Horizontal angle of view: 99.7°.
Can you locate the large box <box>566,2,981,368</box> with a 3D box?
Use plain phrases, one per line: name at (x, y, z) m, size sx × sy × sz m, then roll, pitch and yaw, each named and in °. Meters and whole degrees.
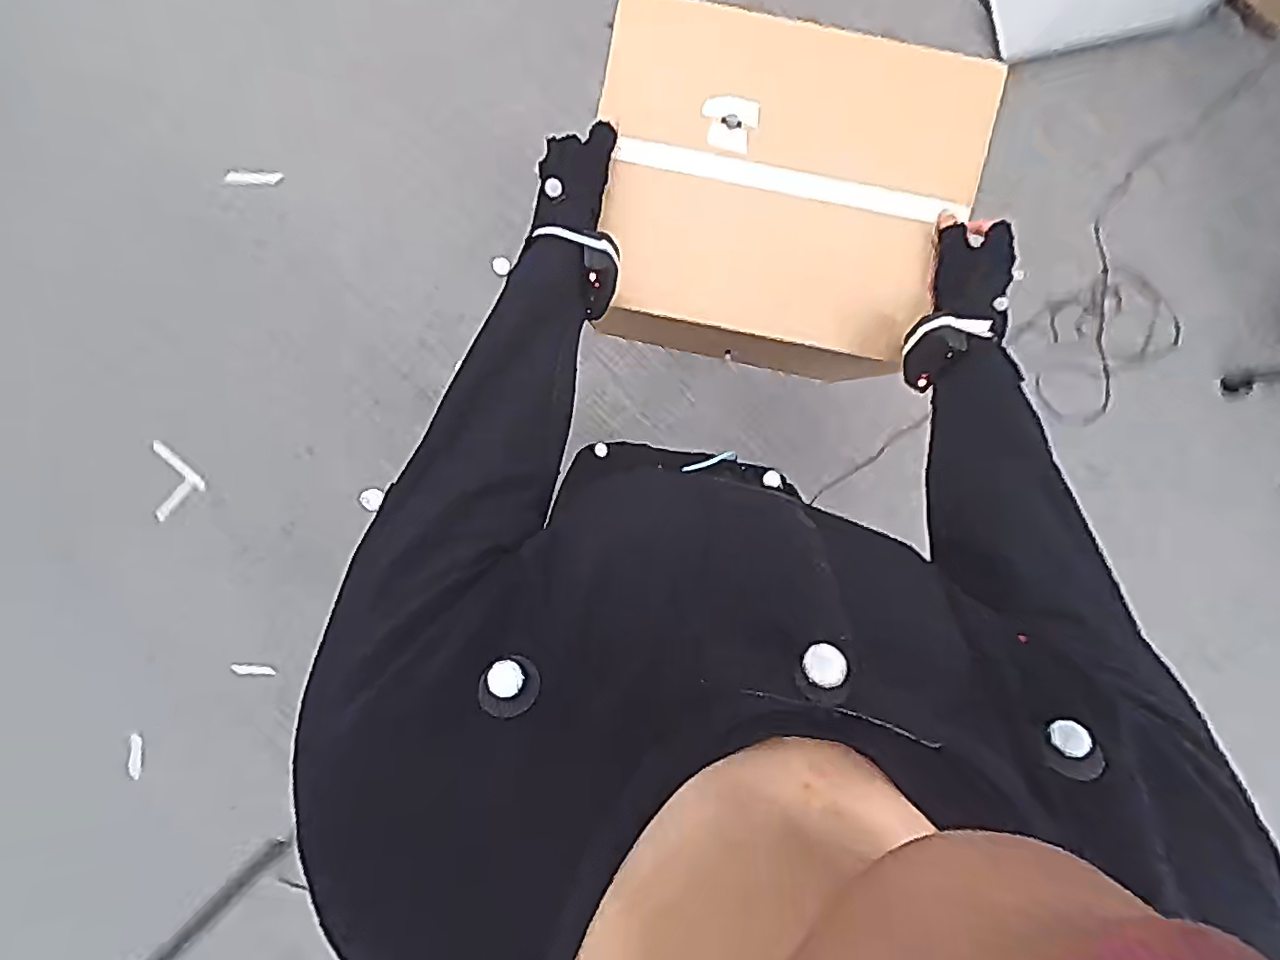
large box at (0.142, -0.339, 0.730) m, size 0.408 × 0.320 × 0.320 m, roll 10°, pitch 97°, yaw 0°
